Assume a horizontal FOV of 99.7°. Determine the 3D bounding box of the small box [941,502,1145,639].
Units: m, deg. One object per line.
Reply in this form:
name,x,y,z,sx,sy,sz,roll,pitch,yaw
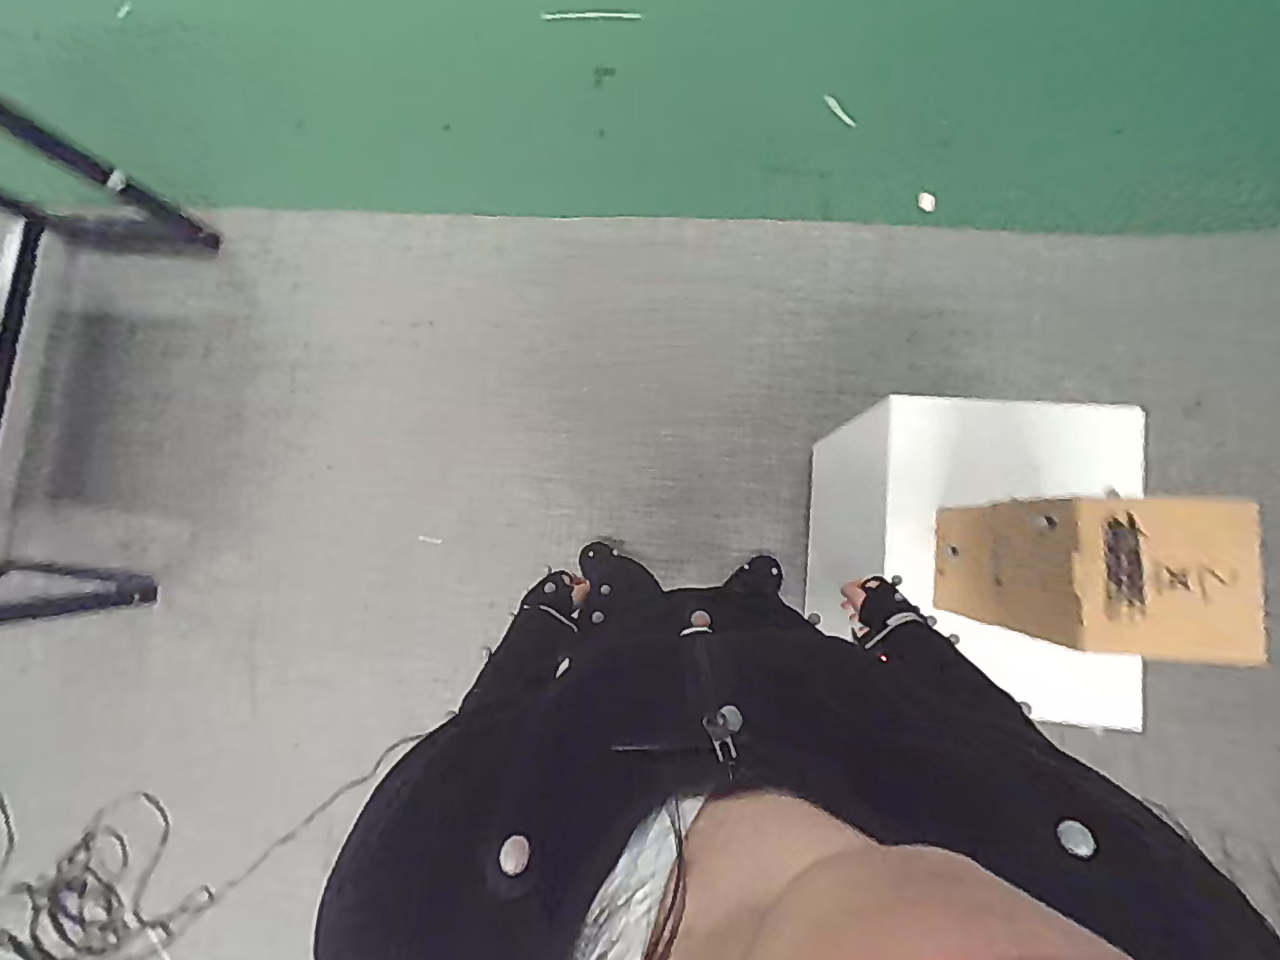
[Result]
small box,0.569,0.122,0.783,0.179,0.176,0.168,4,85,5
